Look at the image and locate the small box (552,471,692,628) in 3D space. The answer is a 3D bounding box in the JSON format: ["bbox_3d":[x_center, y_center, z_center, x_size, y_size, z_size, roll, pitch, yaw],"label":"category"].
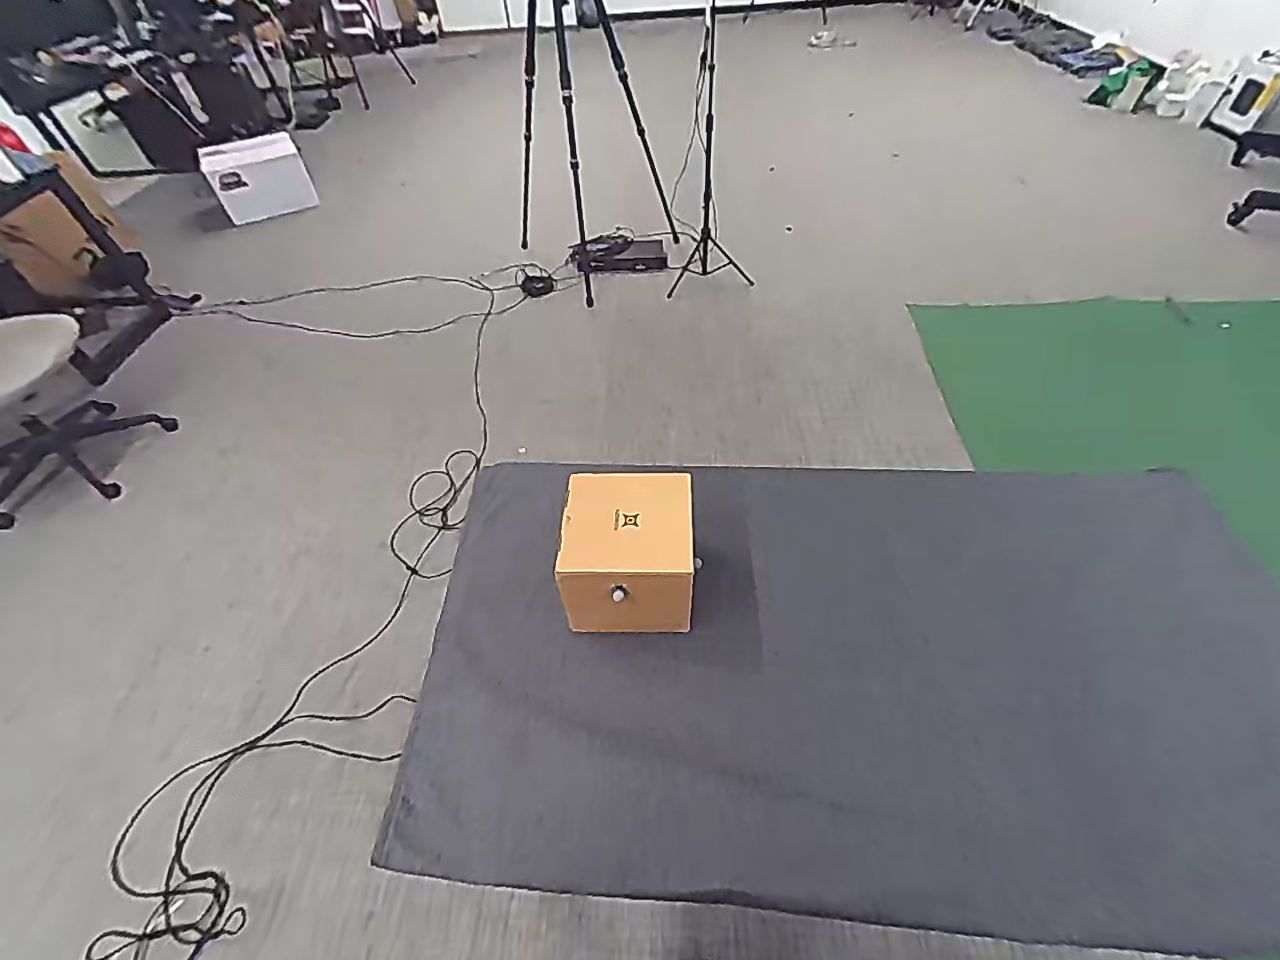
[{"bbox_3d":[-0.017,0.103,0.780,0.179,0.176,0.168,-1,50,4],"label":"small box"}]
